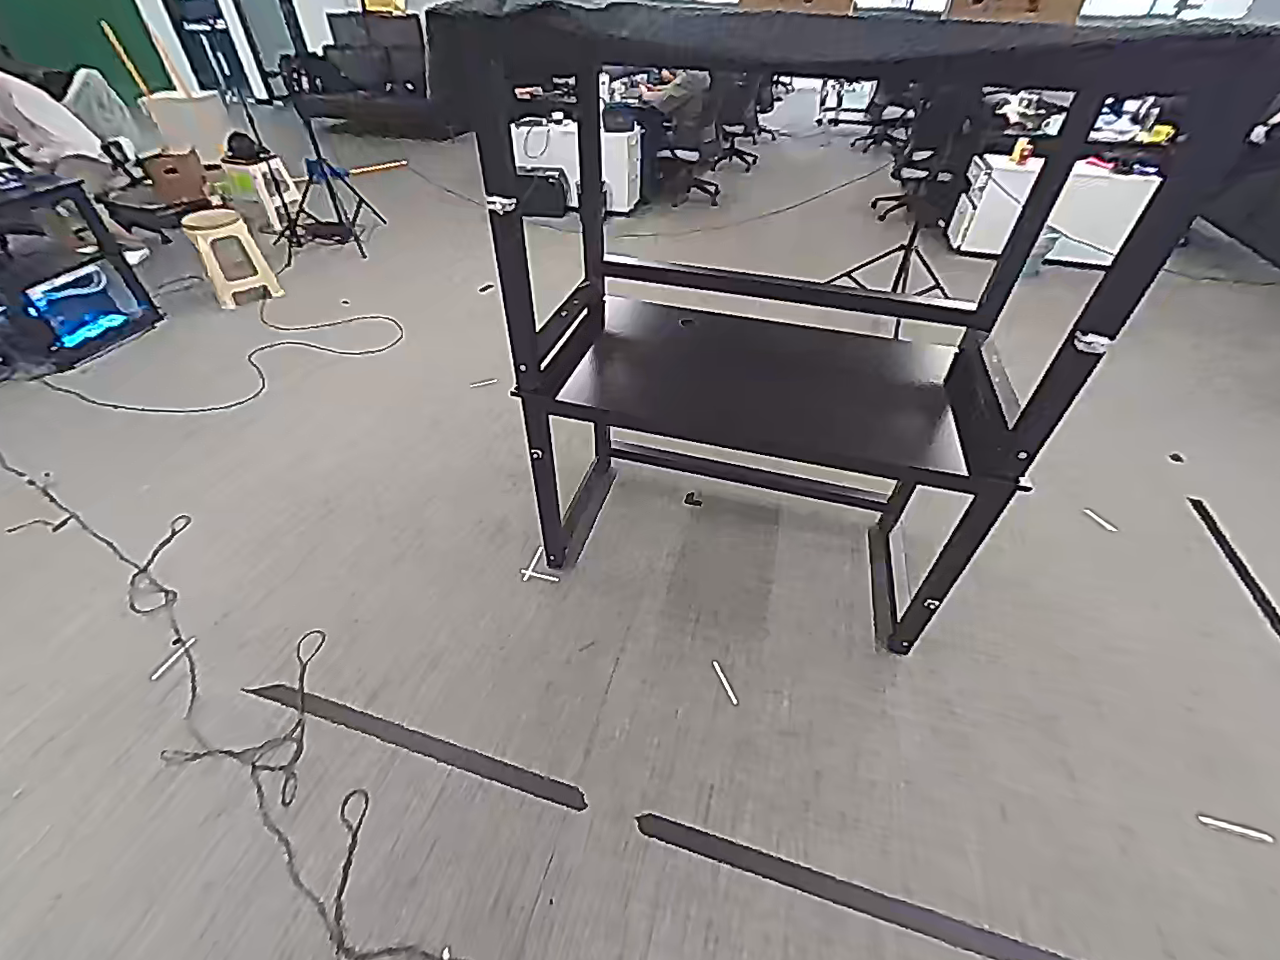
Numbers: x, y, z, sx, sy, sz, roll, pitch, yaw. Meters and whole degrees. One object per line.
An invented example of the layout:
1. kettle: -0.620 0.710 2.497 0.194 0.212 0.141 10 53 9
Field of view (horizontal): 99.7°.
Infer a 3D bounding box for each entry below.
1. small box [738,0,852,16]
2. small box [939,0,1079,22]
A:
1. small box: 0.248 -0.810 0.806 0.168 0.176 0.179 12 42 12
2. small box: 0.537 -0.752 0.754 0.168 0.176 0.179 15 42 14
